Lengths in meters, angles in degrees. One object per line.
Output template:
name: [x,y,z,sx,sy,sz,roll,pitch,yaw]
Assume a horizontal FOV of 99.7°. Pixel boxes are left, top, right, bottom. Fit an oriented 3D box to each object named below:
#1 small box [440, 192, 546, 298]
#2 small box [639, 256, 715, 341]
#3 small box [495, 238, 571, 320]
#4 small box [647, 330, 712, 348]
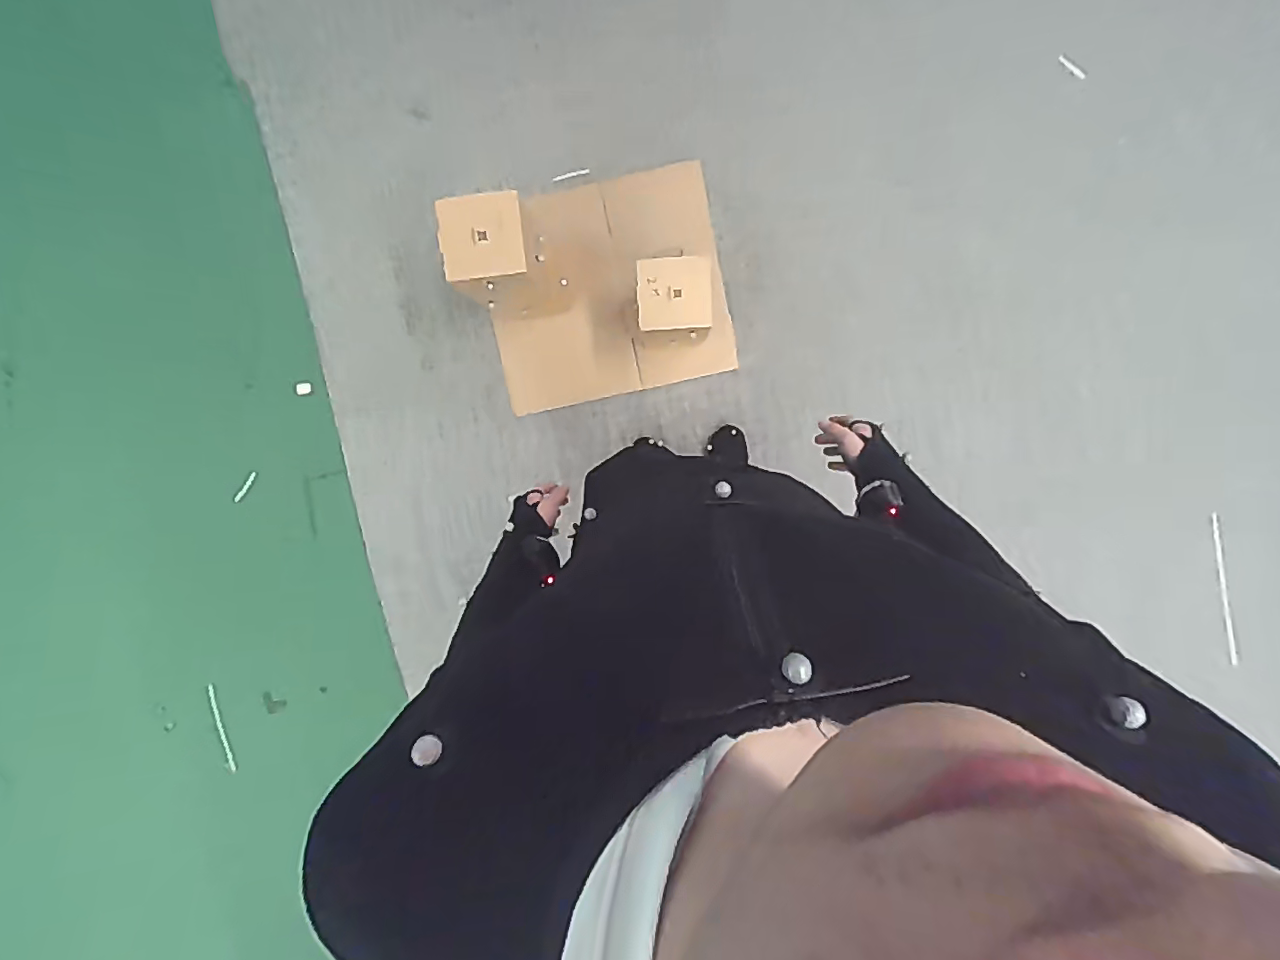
small box: [-0.318,-0.510,1.198,0.179,0.176,0.168,-5,96,3]
small box: [0.092,-0.446,1.345,0.179,0.176,0.168,-2,95,5]
small box: [-0.305,-0.557,1.522,0.179,0.176,0.168,-7,95,4]
small box: [0.101,-0.469,1.509,0.179,0.176,0.168,-6,95,5]
